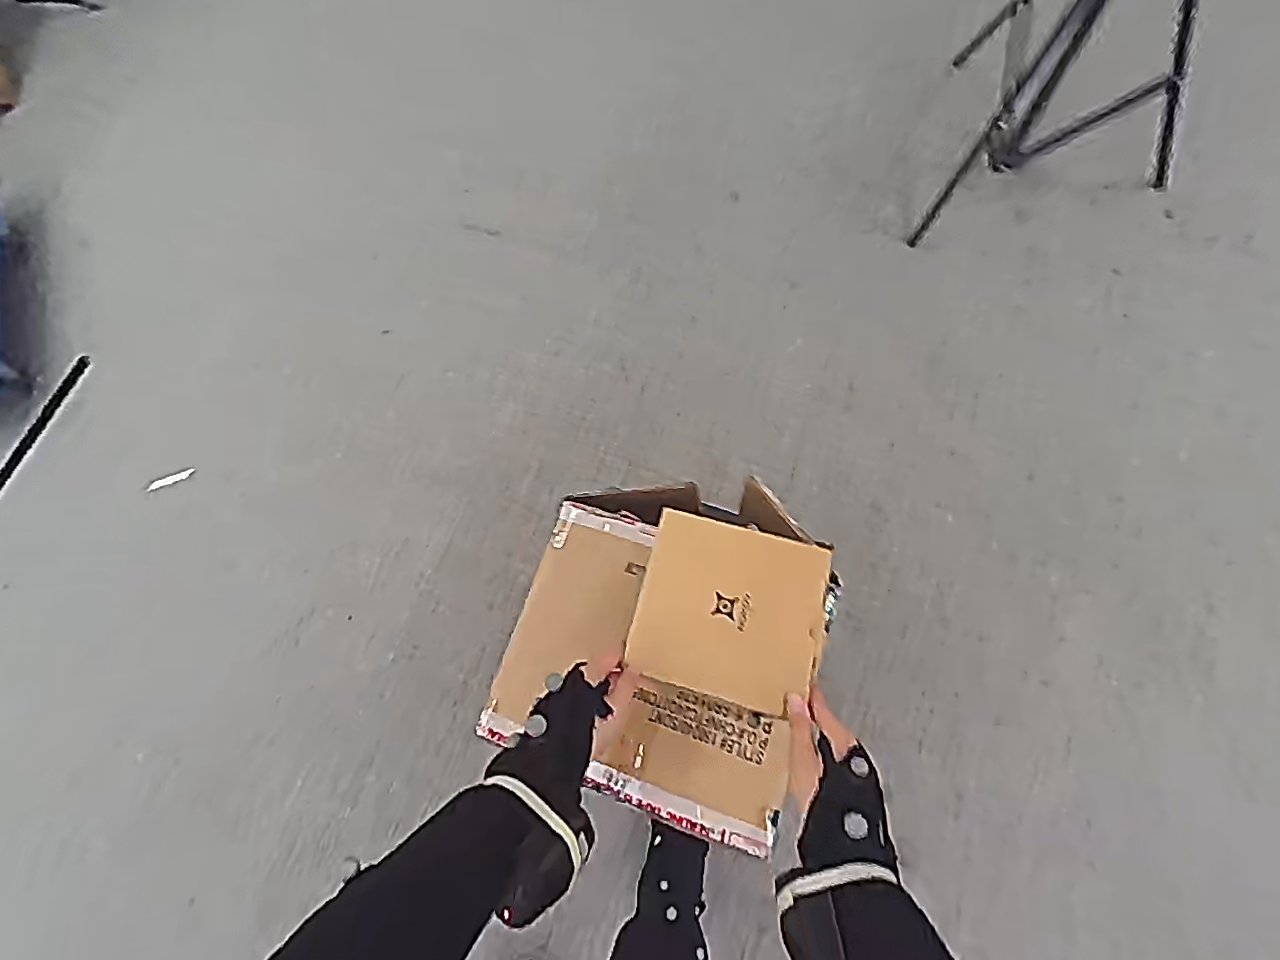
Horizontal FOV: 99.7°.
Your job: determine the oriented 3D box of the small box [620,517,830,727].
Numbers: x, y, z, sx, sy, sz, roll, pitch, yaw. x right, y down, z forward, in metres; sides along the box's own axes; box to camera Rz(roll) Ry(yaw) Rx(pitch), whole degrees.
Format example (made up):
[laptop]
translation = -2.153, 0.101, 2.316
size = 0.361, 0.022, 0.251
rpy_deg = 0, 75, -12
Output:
[small box]
translation = 0.088, 0.162, 0.597
size = 0.179, 0.176, 0.168
rpy_deg = 14, 69, 7
